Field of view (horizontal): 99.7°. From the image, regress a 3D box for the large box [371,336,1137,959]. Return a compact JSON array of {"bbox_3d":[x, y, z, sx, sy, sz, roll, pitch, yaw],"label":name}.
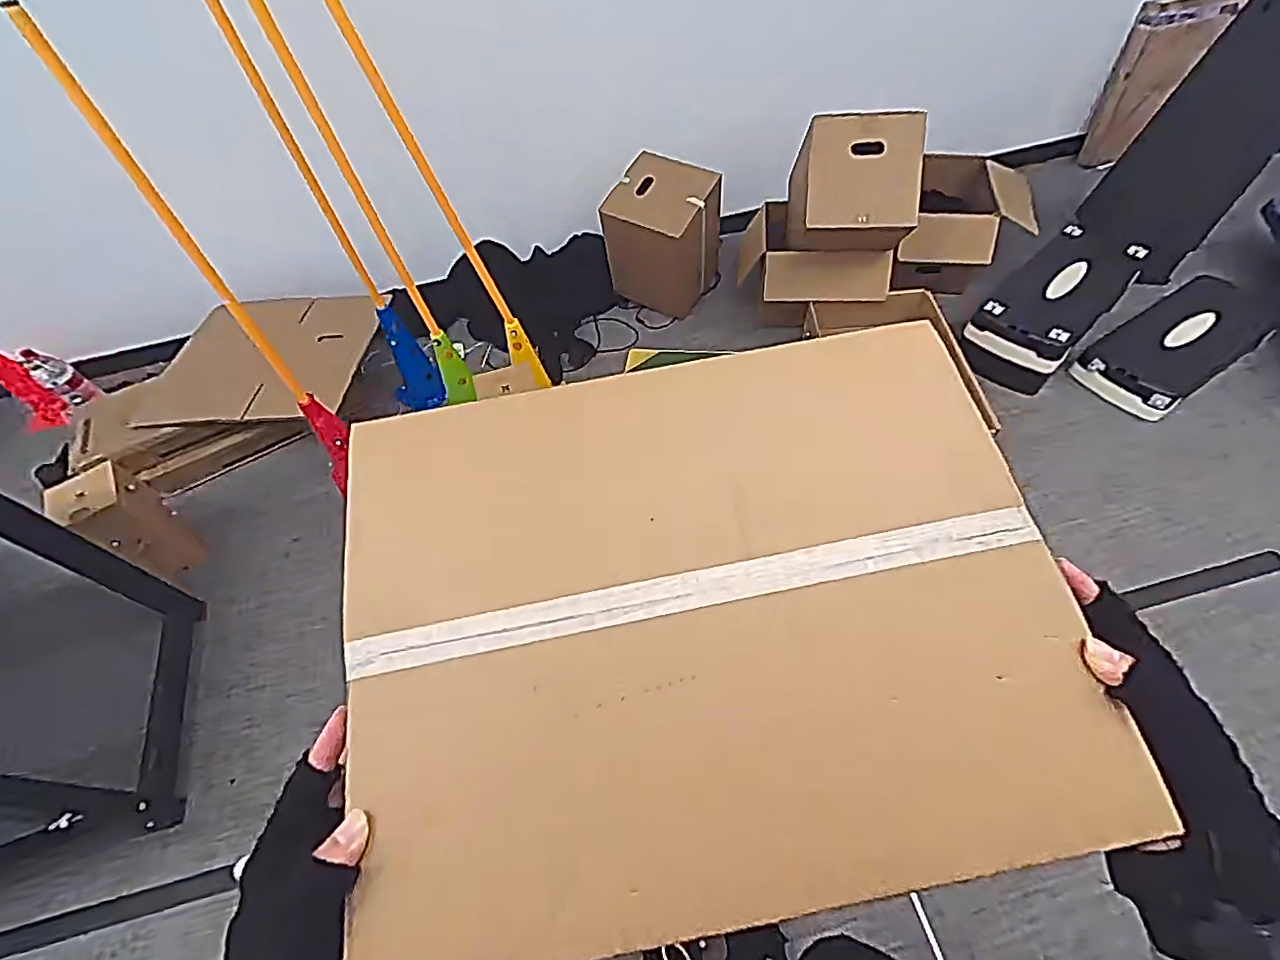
[{"bbox_3d":[0.041,0.130,0.464,0.408,0.320,0.320,-11,68,-2],"label":"large box"}]
